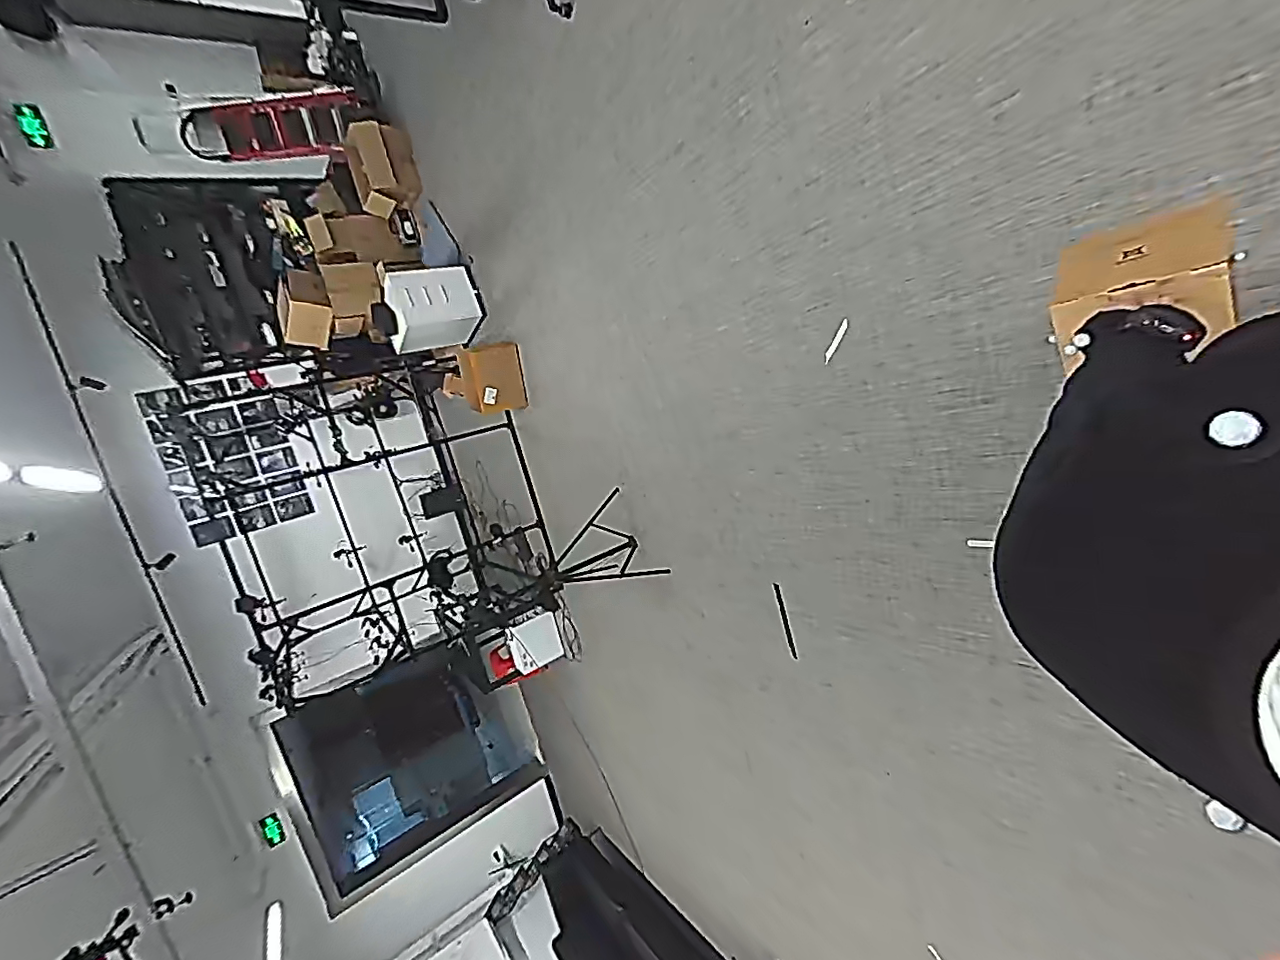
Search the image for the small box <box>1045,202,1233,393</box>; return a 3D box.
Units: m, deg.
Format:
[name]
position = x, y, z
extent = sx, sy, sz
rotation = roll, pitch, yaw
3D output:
[small box]
position = 0.683, -0.234, 0.741
extent = 0.168, 0.179, 0.176
rotation = -5, 129, 47
